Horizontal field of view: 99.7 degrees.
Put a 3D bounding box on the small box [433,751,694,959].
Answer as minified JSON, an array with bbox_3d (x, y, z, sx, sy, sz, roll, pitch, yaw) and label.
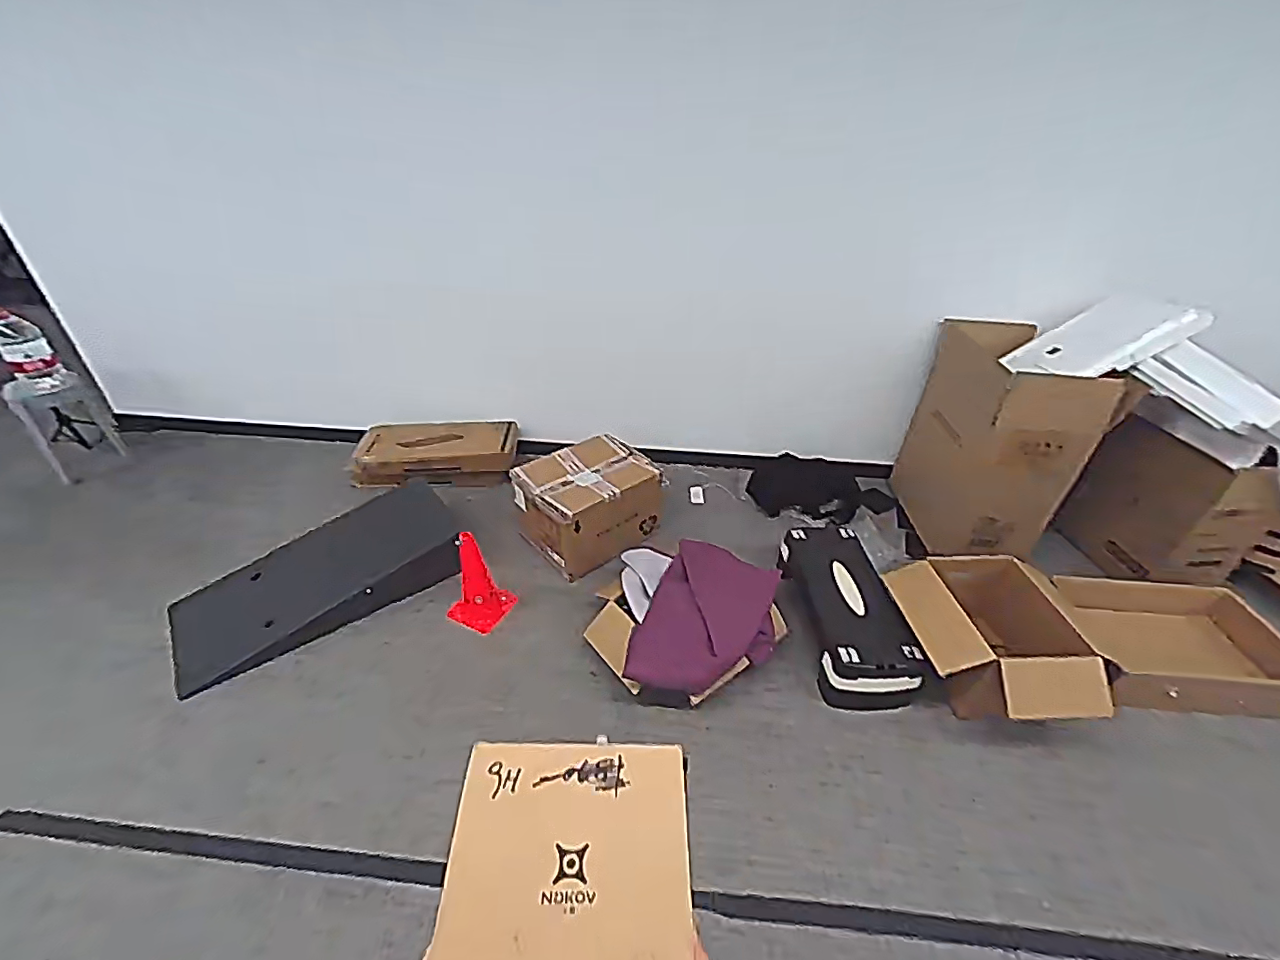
[{"bbox_3d":[-0.048,0.328,0.415,0.168,0.176,0.179,1,45,-2],"label":"small box"}]
